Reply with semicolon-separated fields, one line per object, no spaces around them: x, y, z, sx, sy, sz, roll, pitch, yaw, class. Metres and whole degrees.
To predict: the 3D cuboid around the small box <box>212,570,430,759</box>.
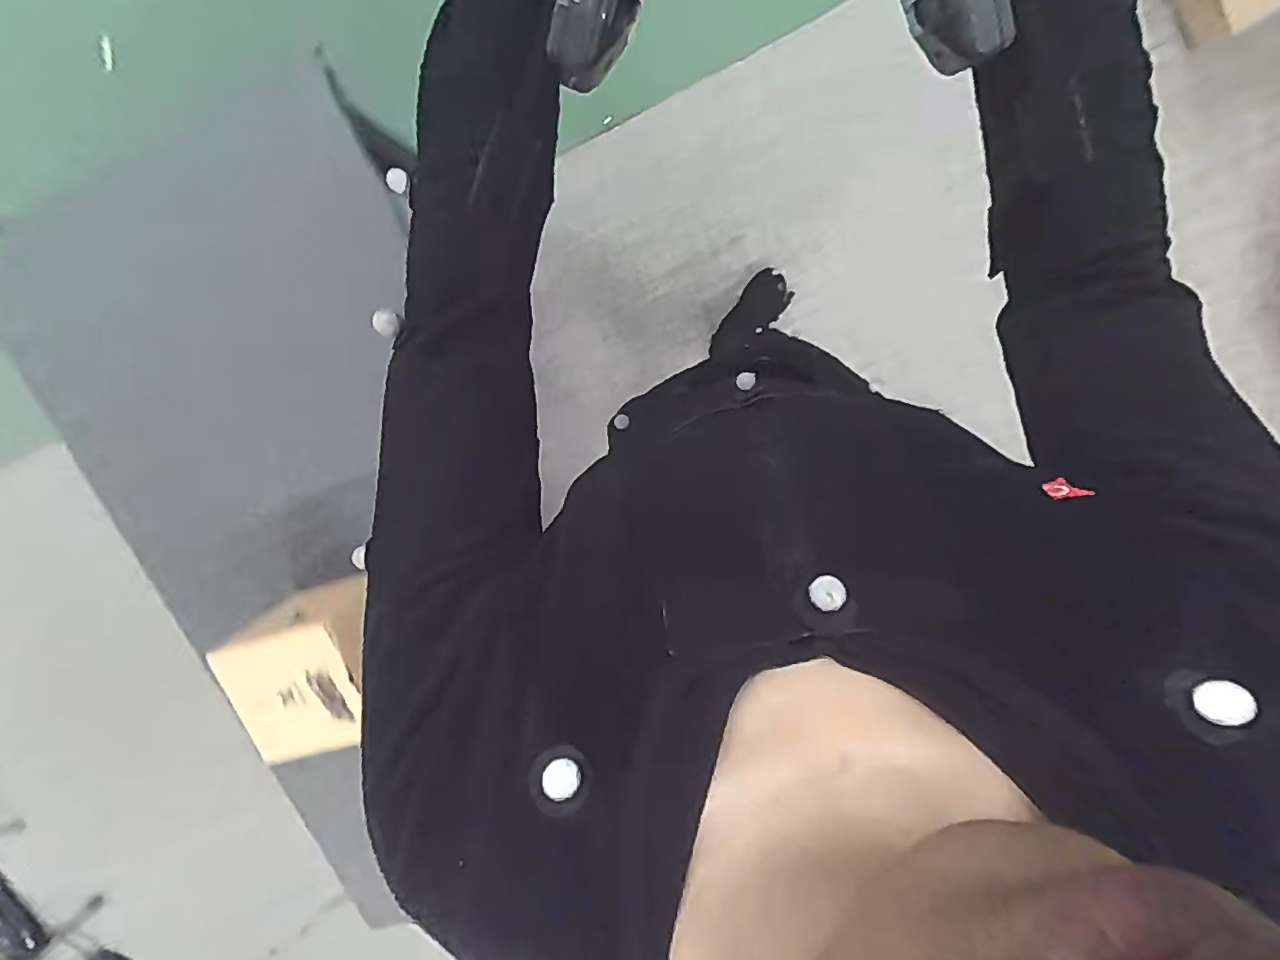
-0.418;0.244;0.749;0.179;0.176;0.168;-17;102;10;small box
